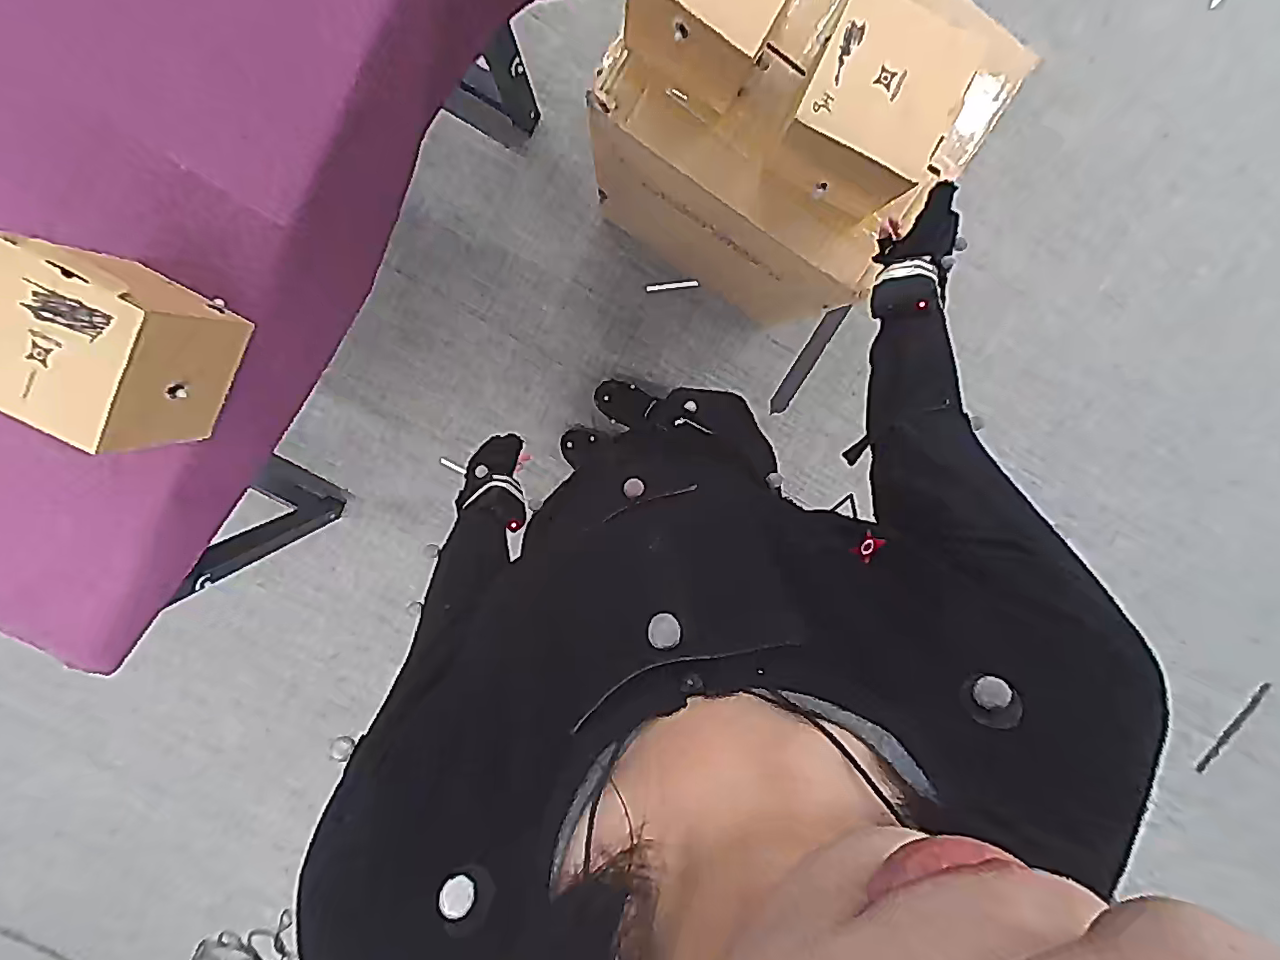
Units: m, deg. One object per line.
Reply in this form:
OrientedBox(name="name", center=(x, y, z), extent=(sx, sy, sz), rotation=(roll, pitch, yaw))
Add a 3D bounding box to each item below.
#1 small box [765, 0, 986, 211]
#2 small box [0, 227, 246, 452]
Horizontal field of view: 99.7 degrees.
OrientedBox(name="small box", center=(0.293, -0.483, 0.715), extent=(0.179, 0.176, 0.168), rotation=(25, 100, -6))
OrientedBox(name="small box", center=(-0.618, -0.157, 0.638), extent=(0.168, 0.176, 0.179), rotation=(28, 99, -6))
